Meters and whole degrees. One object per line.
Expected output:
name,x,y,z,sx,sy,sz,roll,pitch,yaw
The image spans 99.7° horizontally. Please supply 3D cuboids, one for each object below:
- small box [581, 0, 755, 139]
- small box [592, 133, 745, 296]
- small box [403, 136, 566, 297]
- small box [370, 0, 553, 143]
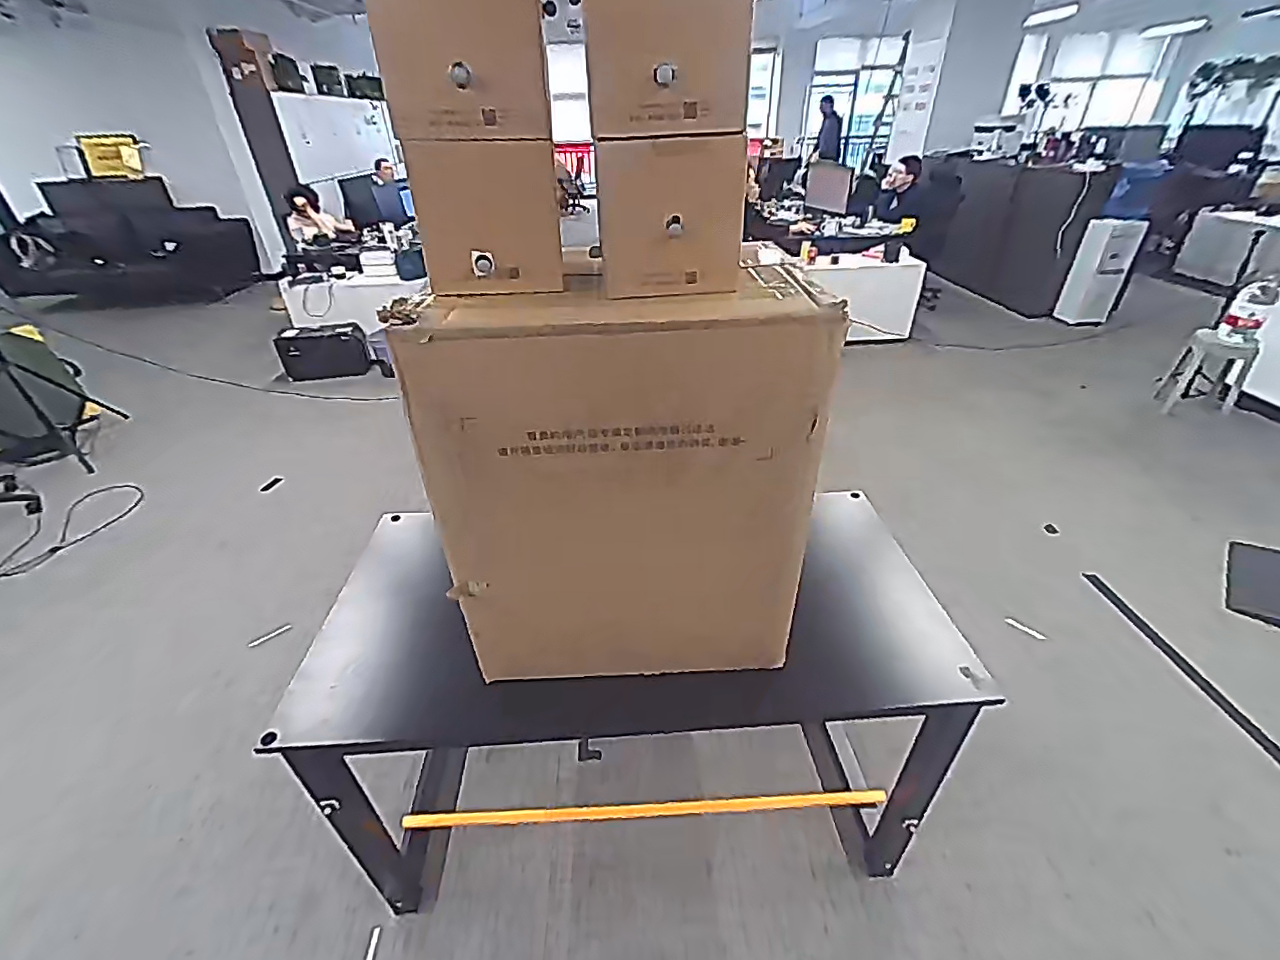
small box,0.022,-0.471,0.585,0.168,0.176,0.179,-4,35,-2
small box,0.030,-0.337,0.683,0.168,0.176,0.179,-5,35,-4
small box,-0.186,-0.344,0.700,0.168,0.176,0.179,-5,35,-6
small box,-0.190,-0.480,0.607,0.168,0.176,0.179,-4,34,-4
